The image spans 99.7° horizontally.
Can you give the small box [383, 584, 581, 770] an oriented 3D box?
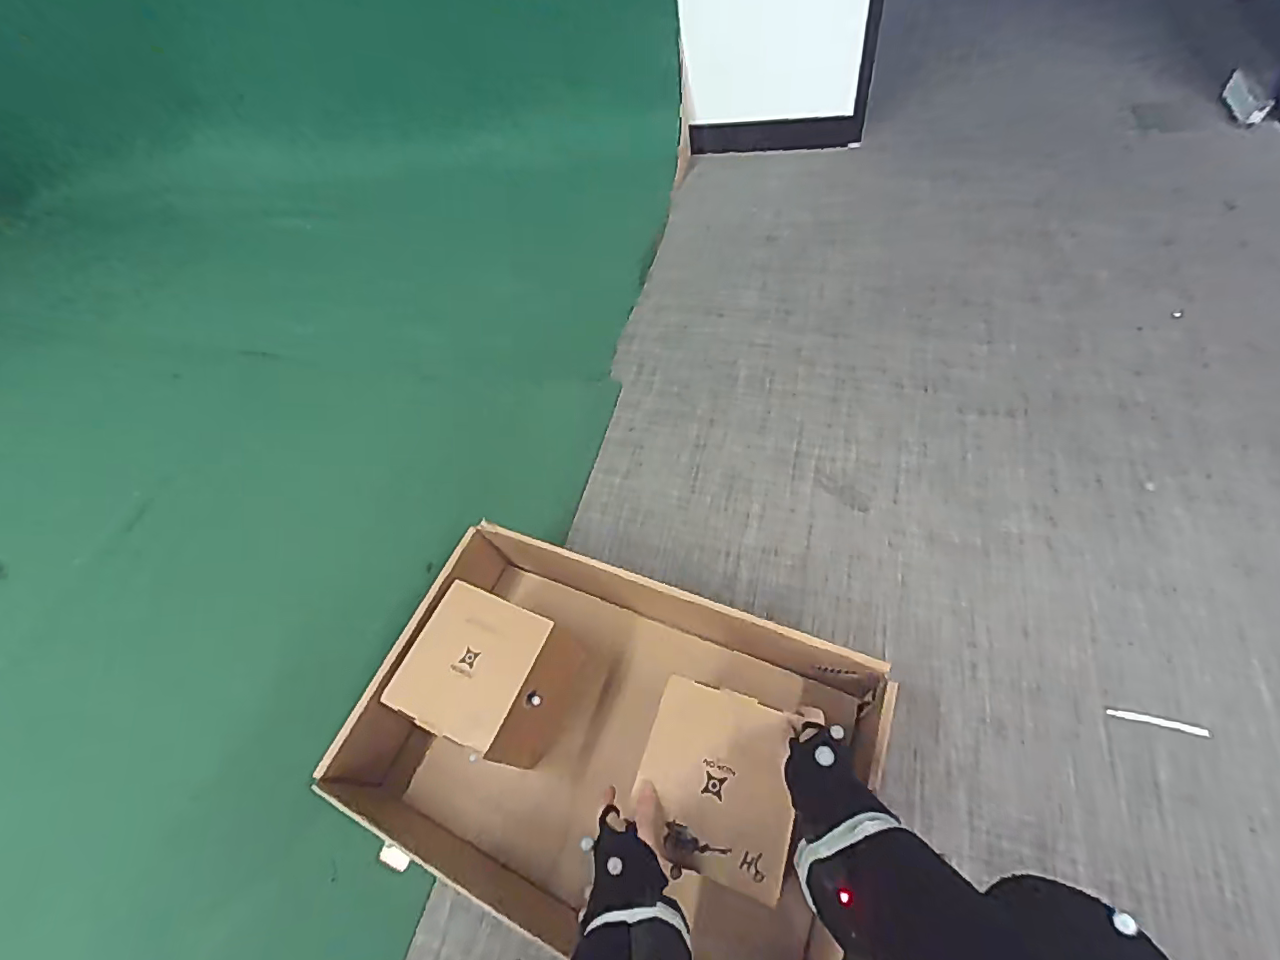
[{"bbox_3d":[-0.201,0.277,0.746,0.168,0.176,0.179,18,63,20],"label":"small box"}]
